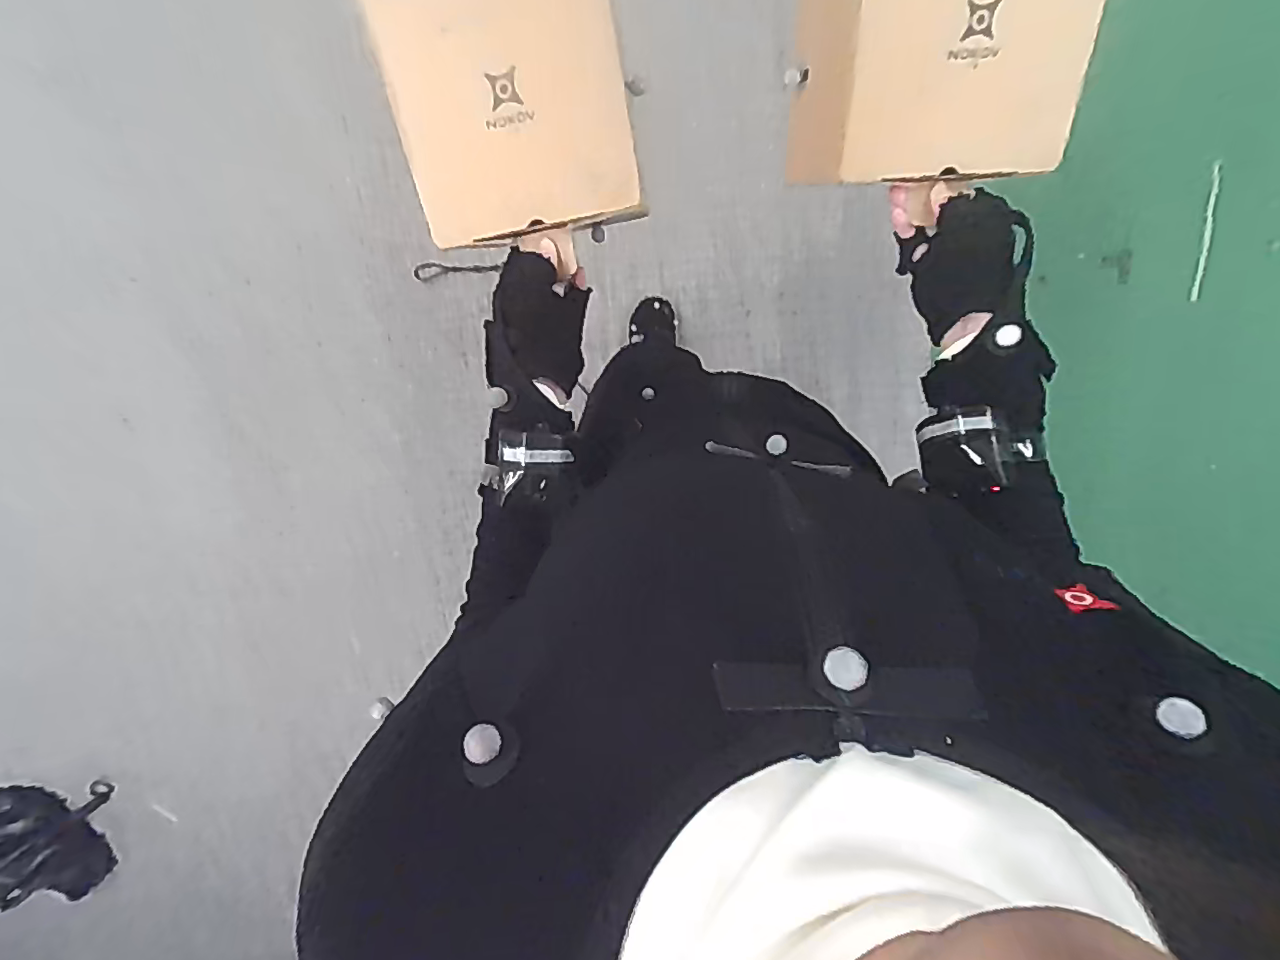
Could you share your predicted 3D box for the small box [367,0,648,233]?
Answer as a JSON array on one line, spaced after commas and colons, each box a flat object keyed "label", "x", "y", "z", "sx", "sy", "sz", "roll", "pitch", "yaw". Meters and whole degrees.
[{"label": "small box", "x": -0.088, "y": -0.315, "z": 0.447, "sx": 0.168, "sy": 0.176, "sz": 0.179, "roll": -10, "pitch": 113, "yaw": 6}]

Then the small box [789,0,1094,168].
[{"label": "small box", "x": 0.227, "y": -0.360, "z": 0.442, "sx": 0.168, "sy": 0.176, "sz": 0.179, "roll": -3, "pitch": 119, "yaw": 0}]
